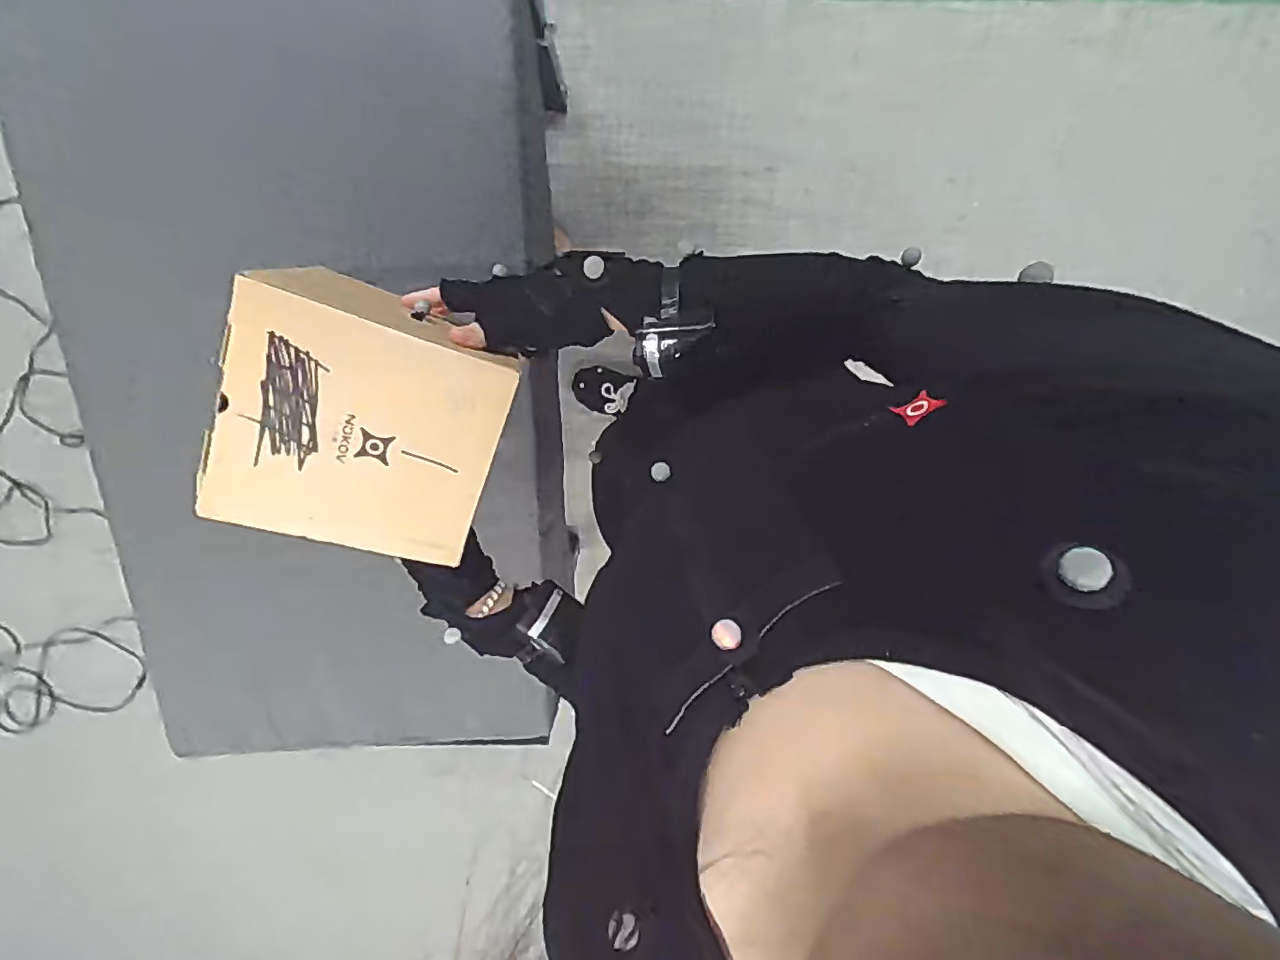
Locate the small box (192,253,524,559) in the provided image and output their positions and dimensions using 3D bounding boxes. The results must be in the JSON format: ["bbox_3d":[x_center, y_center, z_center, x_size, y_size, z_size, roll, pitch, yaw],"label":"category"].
[{"bbox_3d":[-0.206,-0.064,0.438,0.179,0.176,0.168,18,106,-20],"label":"small box"}]
